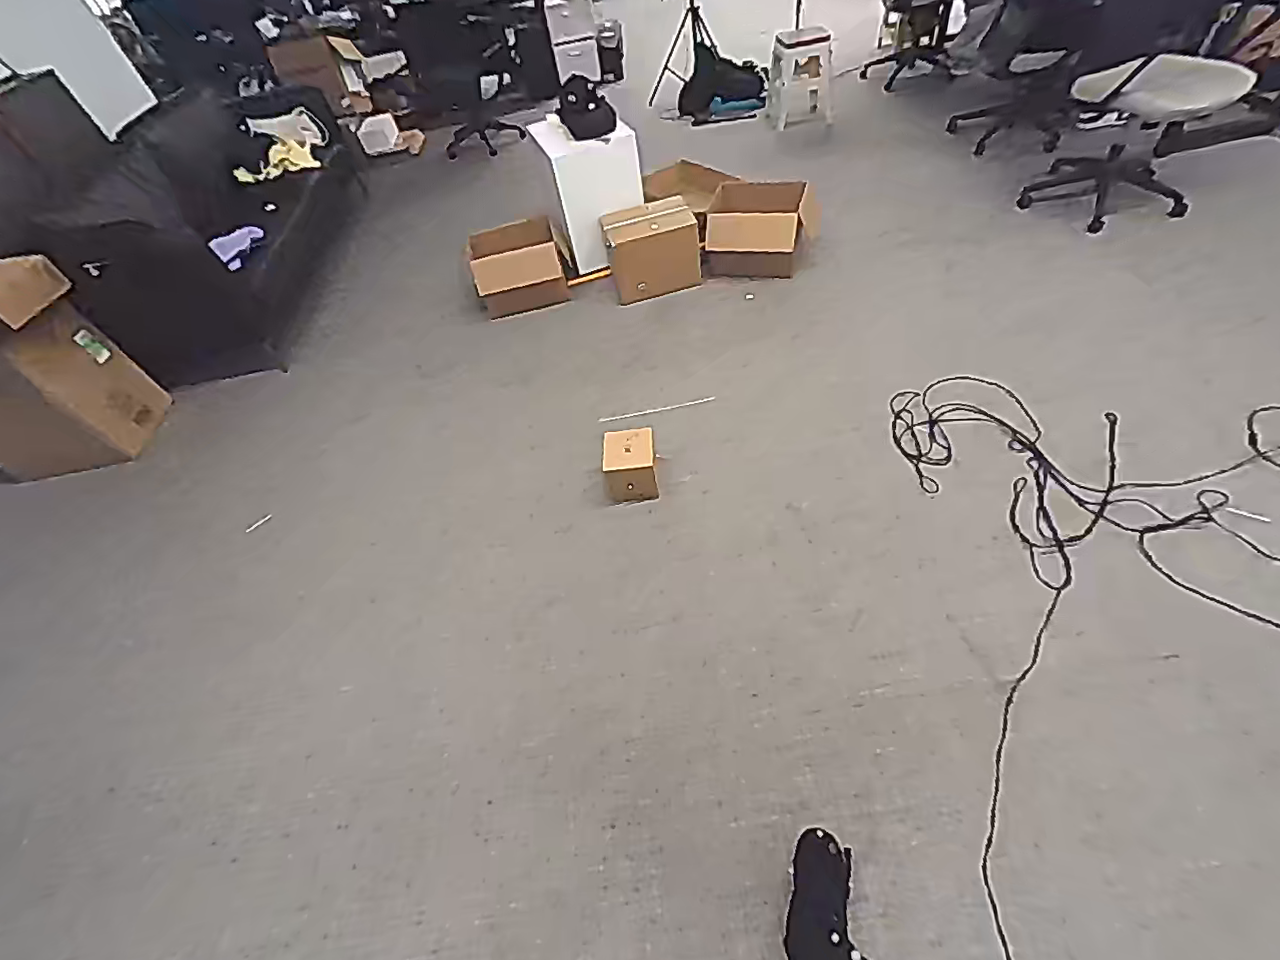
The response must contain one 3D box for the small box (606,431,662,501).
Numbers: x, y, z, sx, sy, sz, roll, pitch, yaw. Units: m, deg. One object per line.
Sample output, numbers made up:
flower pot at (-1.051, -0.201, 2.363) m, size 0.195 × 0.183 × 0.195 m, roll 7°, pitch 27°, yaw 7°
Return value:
small box at (-0.018, -0.042, 1.841) m, size 0.168 × 0.176 × 0.179 m, roll -5°, pitch 50°, yaw 6°
